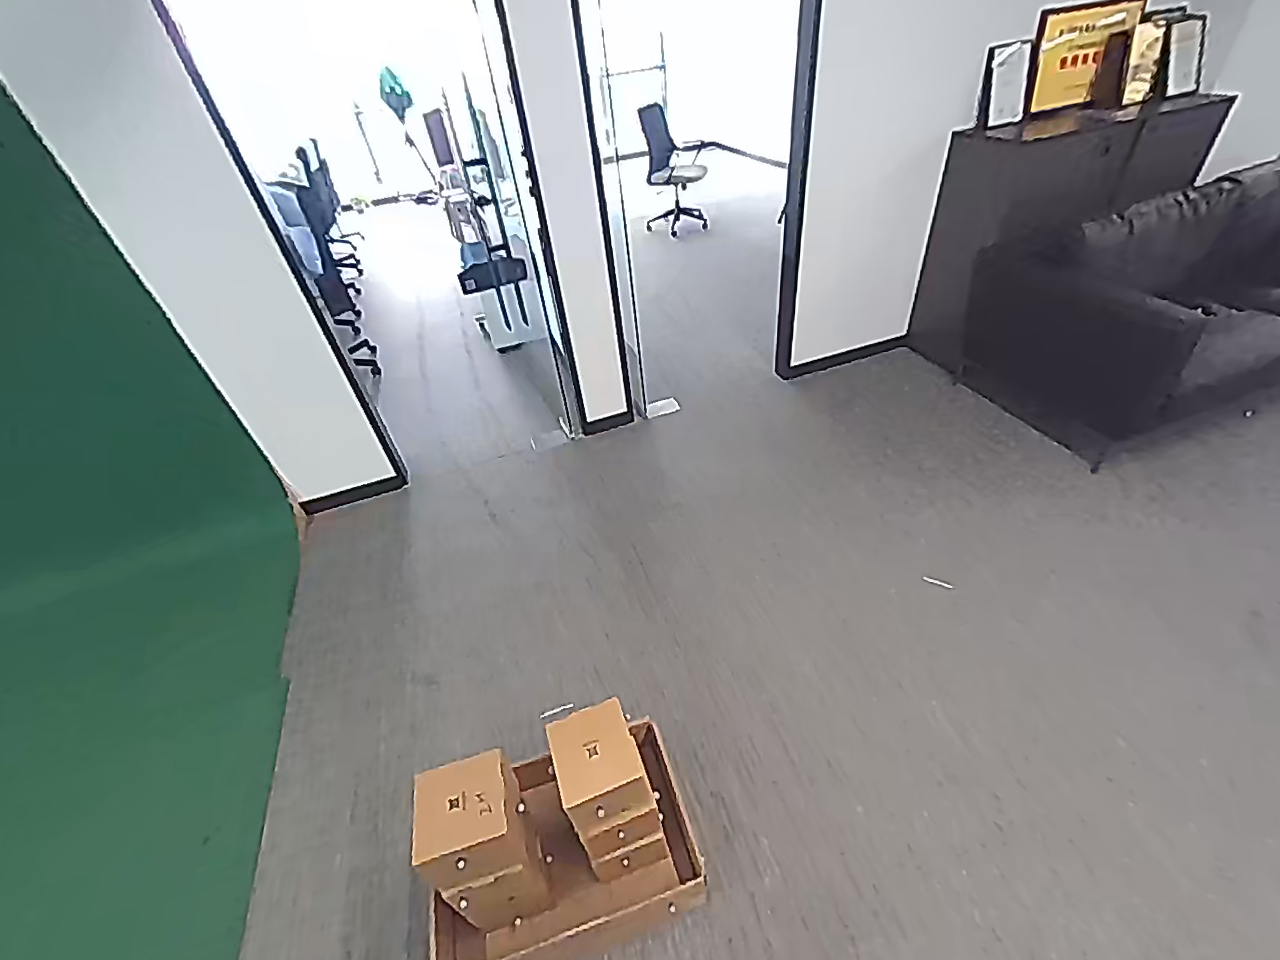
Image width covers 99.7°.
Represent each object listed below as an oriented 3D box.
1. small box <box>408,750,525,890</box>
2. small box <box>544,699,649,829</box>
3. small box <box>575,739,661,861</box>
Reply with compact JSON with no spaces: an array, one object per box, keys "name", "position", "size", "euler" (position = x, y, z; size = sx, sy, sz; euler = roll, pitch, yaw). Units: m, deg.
[{"name":"small box","position":[-0.343,0.685,1.086],"size":[0.179,0.176,0.168],"euler":[-14,40,-9]},{"name":"small box","position":[-0.089,0.609,1.147],"size":[0.168,0.176,0.179],"euler":[-18,42,-11]},{"name":"small box","position":[-0.063,0.737,1.243],"size":[0.179,0.176,0.168],"euler":[-17,42,-11]}]
